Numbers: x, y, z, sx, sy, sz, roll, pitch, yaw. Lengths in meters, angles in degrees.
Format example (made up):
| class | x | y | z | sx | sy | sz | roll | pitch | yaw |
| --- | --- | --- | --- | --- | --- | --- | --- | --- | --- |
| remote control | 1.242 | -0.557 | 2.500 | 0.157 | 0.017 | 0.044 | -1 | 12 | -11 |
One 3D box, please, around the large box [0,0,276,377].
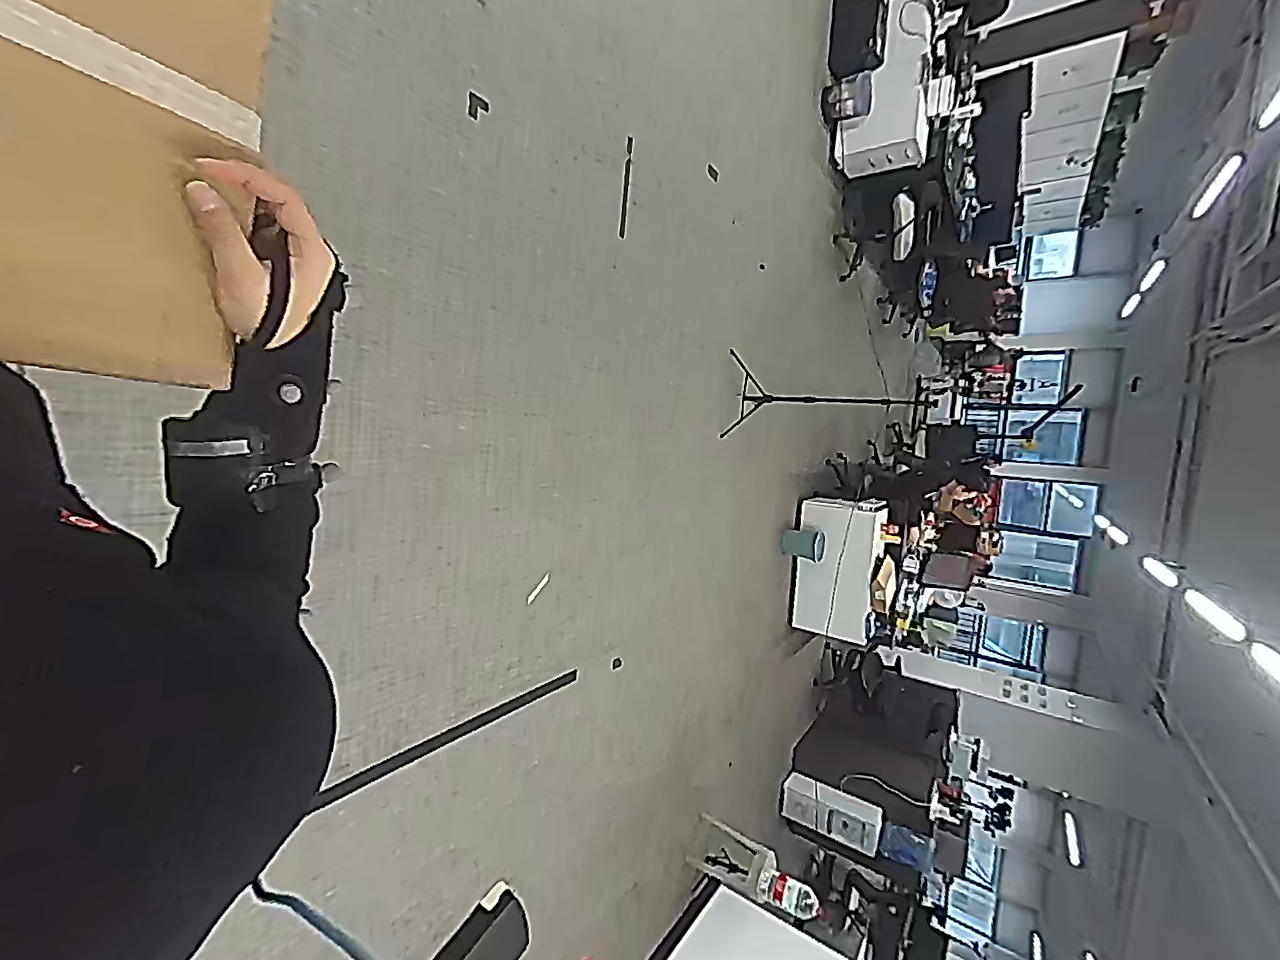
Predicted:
| class | x | y | z | sx | sy | sz | roll | pitch | yaw |
| --- | --- | --- | --- | --- | --- | --- | --- | --- | --- |
| large box | -0.474 | -0.246 | 0.268 | 0.408 | 0.320 | 0.320 | 3 | 100 | -54 |
